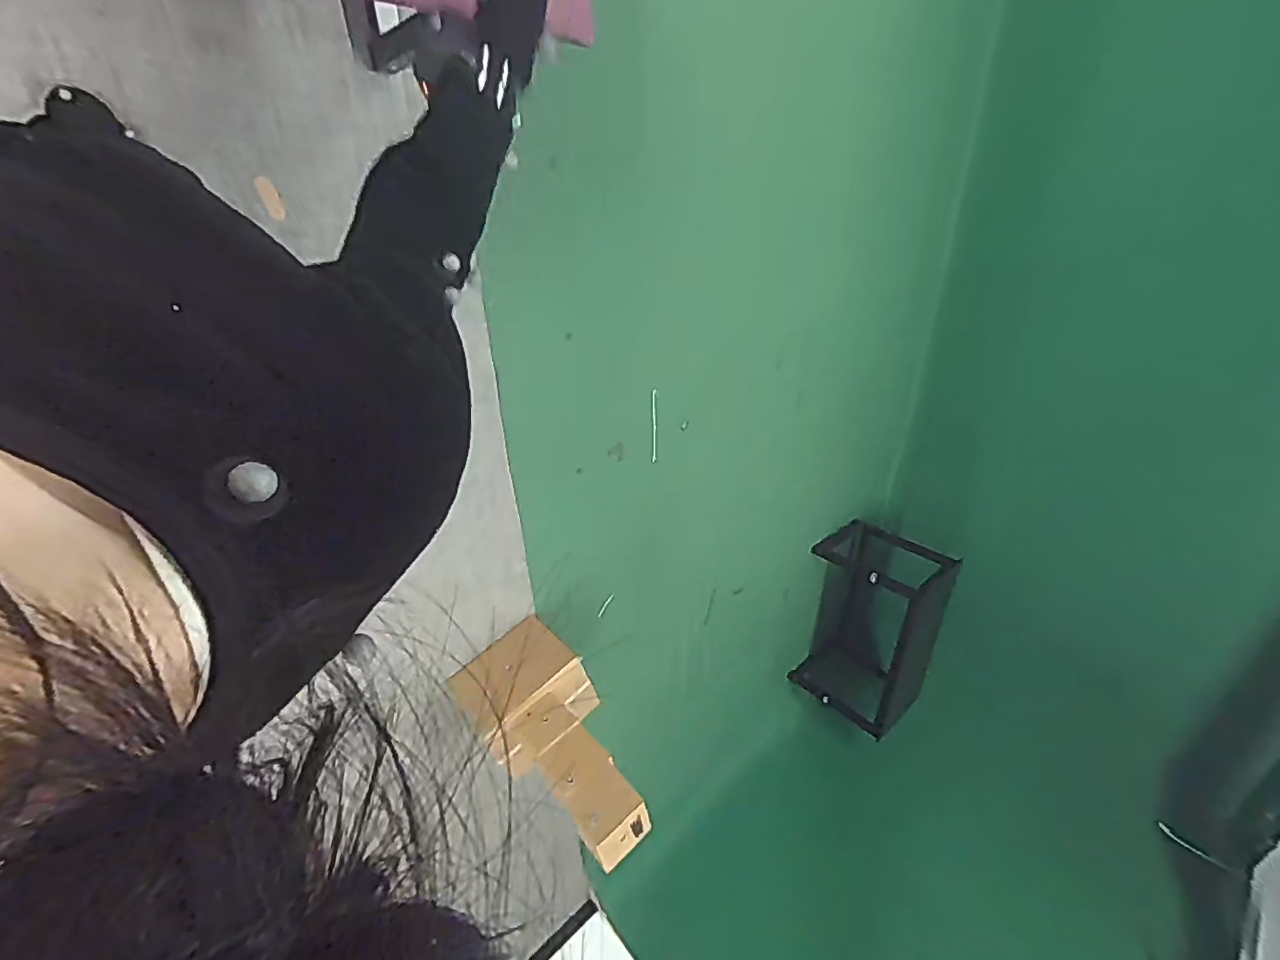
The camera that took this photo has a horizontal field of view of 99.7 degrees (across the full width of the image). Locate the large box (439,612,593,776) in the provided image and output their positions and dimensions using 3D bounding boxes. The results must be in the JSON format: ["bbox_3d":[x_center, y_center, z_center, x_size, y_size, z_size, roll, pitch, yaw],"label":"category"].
[{"bbox_3d":[-0.454,0.779,2.008,0.408,0.320,0.320,-38,134,-27],"label":"large box"}]

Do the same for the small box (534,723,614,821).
[{"bbox_3d":[-0.208,0.913,1.708,0.179,0.176,0.168,-30,129,-30],"label":"small box"}]

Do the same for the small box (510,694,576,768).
[{"bbox_3d":[-0.315,0.851,1.814,0.168,0.176,0.179,-32,129,-30],"label":"small box"}]
